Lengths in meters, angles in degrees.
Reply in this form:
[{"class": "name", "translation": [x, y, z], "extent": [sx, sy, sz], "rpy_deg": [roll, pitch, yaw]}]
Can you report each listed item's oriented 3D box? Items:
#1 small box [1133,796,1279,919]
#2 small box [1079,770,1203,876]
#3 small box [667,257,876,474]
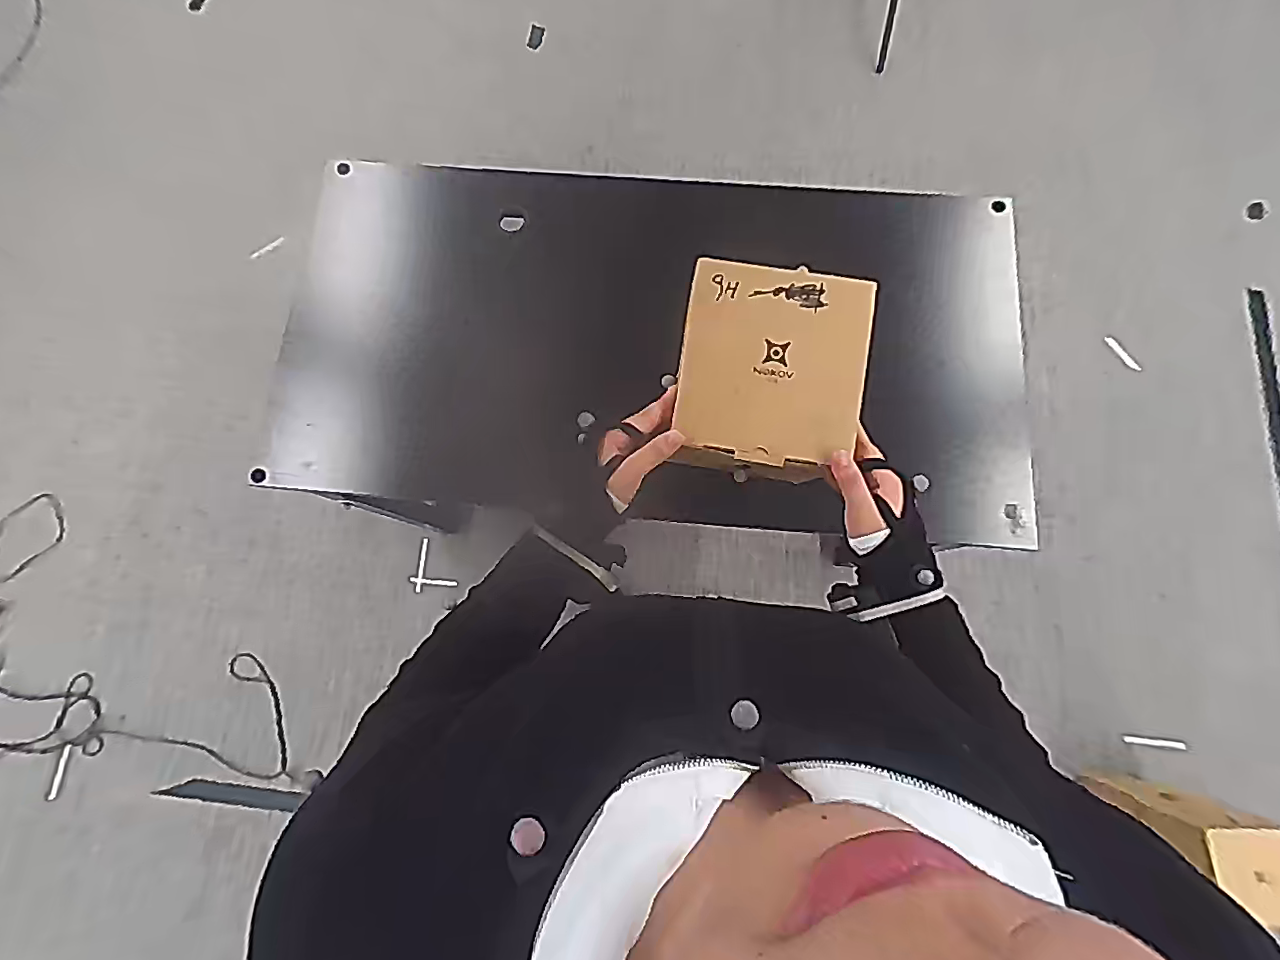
[{"class": "small box", "translation": [1.196, 0.773, 1.124], "extent": [0.179, 0.176, 0.168], "rpy_deg": [-2, 76, 2]}, {"class": "small box", "translation": [1.190, 0.807, 1.284], "extent": [0.168, 0.176, 0.179], "rpy_deg": [2, 78, 2]}, {"class": "small box", "translation": [0.122, -0.103, 0.567], "extent": [0.168, 0.176, 0.179], "rpy_deg": [9, 88, 2]}]
